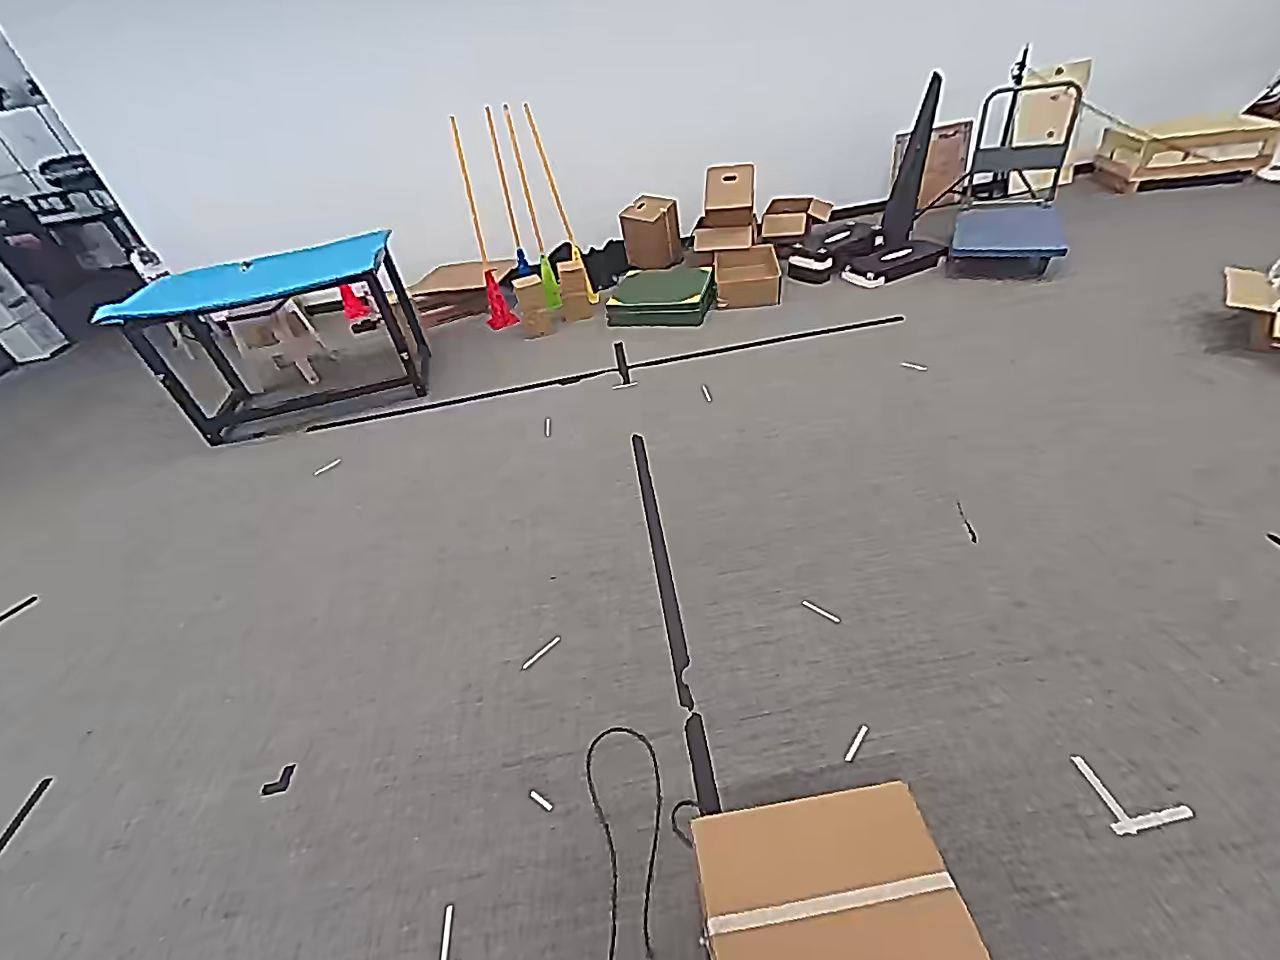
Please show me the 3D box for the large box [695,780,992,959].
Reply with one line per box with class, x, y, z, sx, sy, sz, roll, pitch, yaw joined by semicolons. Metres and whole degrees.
large box;0.333;0.796;0.972;0.408;0.320;0.320;-10;39;-2
